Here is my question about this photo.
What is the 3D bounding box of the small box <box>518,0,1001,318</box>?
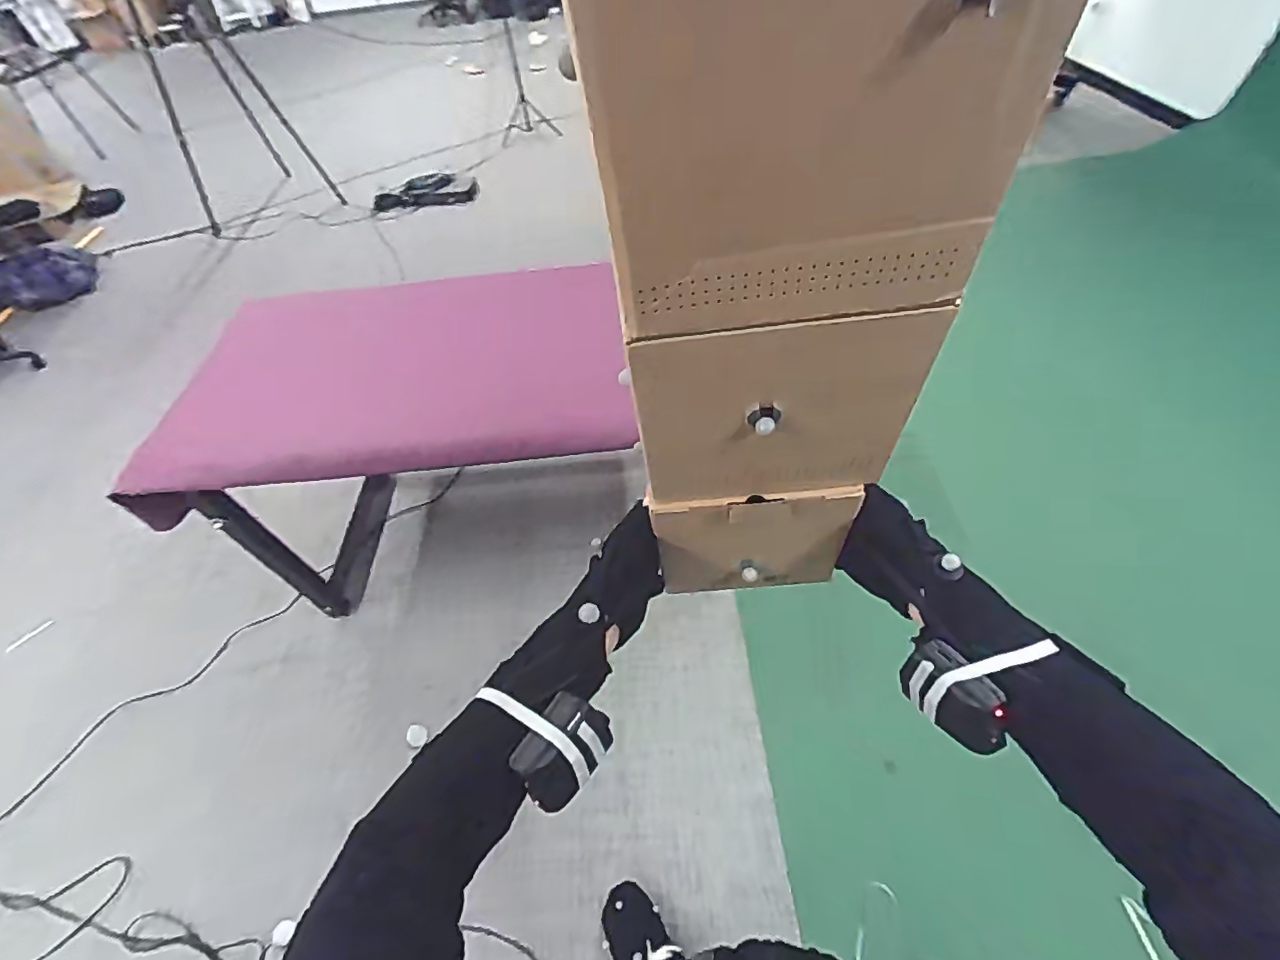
[{"bbox_3d":[0.047,-0.198,0.261,0.179,0.176,0.168,-6,55,4],"label":"small box"}]

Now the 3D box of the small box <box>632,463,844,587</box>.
[{"bbox_3d":[0.082,-0.013,0.529,0.168,0.176,0.179,-6,56,5],"label":"small box"}]

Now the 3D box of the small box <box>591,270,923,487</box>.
[{"bbox_3d":[0.069,-0.109,0.392,0.179,0.176,0.168,-3,54,6],"label":"small box"}]
